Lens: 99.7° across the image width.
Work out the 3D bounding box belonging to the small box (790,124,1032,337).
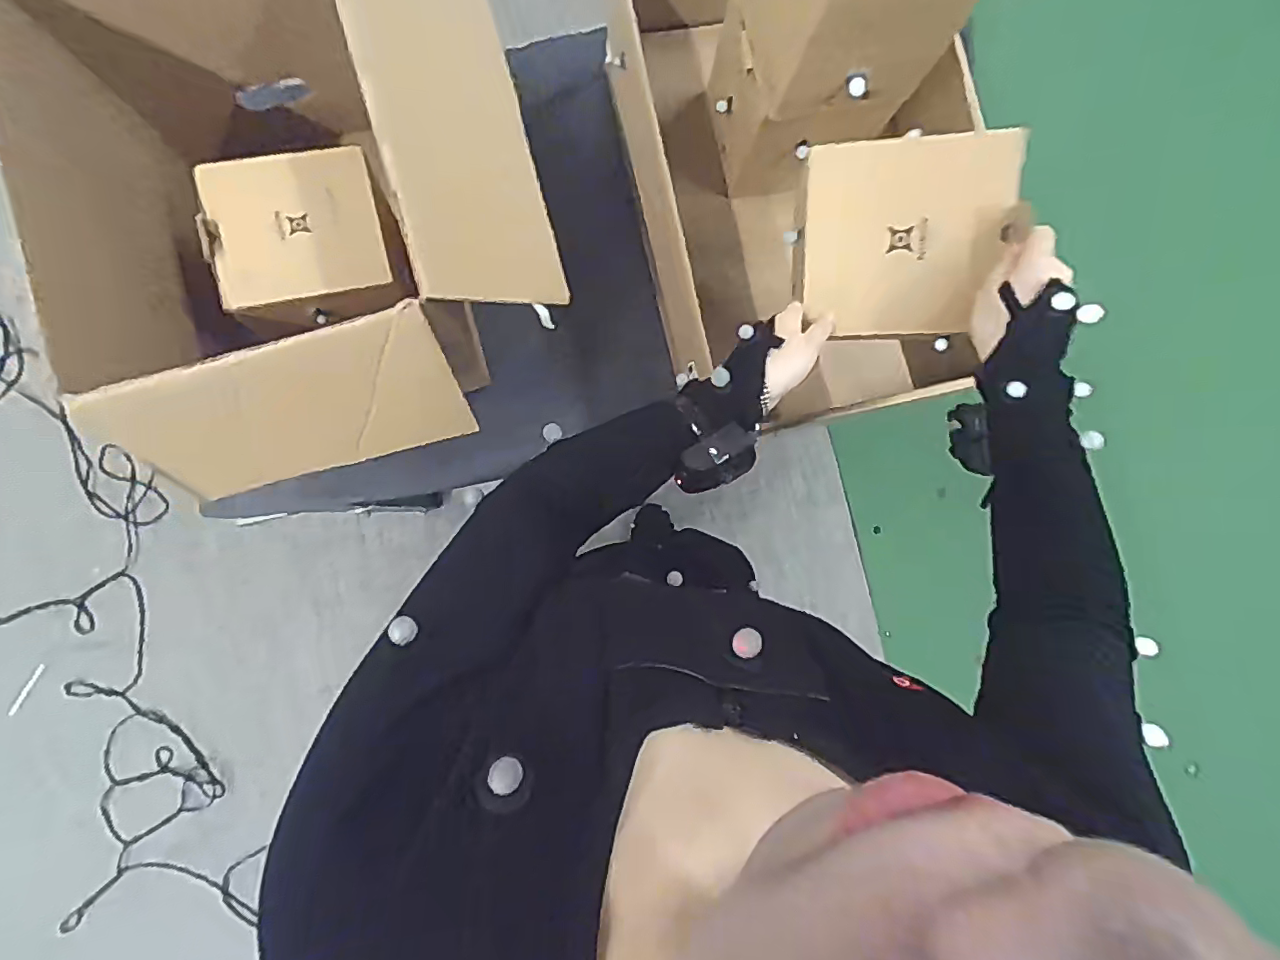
[{"bbox_3d":[0.250,-0.233,0.549,0.179,0.176,0.168,2,105,10],"label":"small box"}]

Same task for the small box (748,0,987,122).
[{"bbox_3d":[0.216,-0.502,0.534,0.168,0.176,0.179,-12,89,-5],"label":"small box"}]
